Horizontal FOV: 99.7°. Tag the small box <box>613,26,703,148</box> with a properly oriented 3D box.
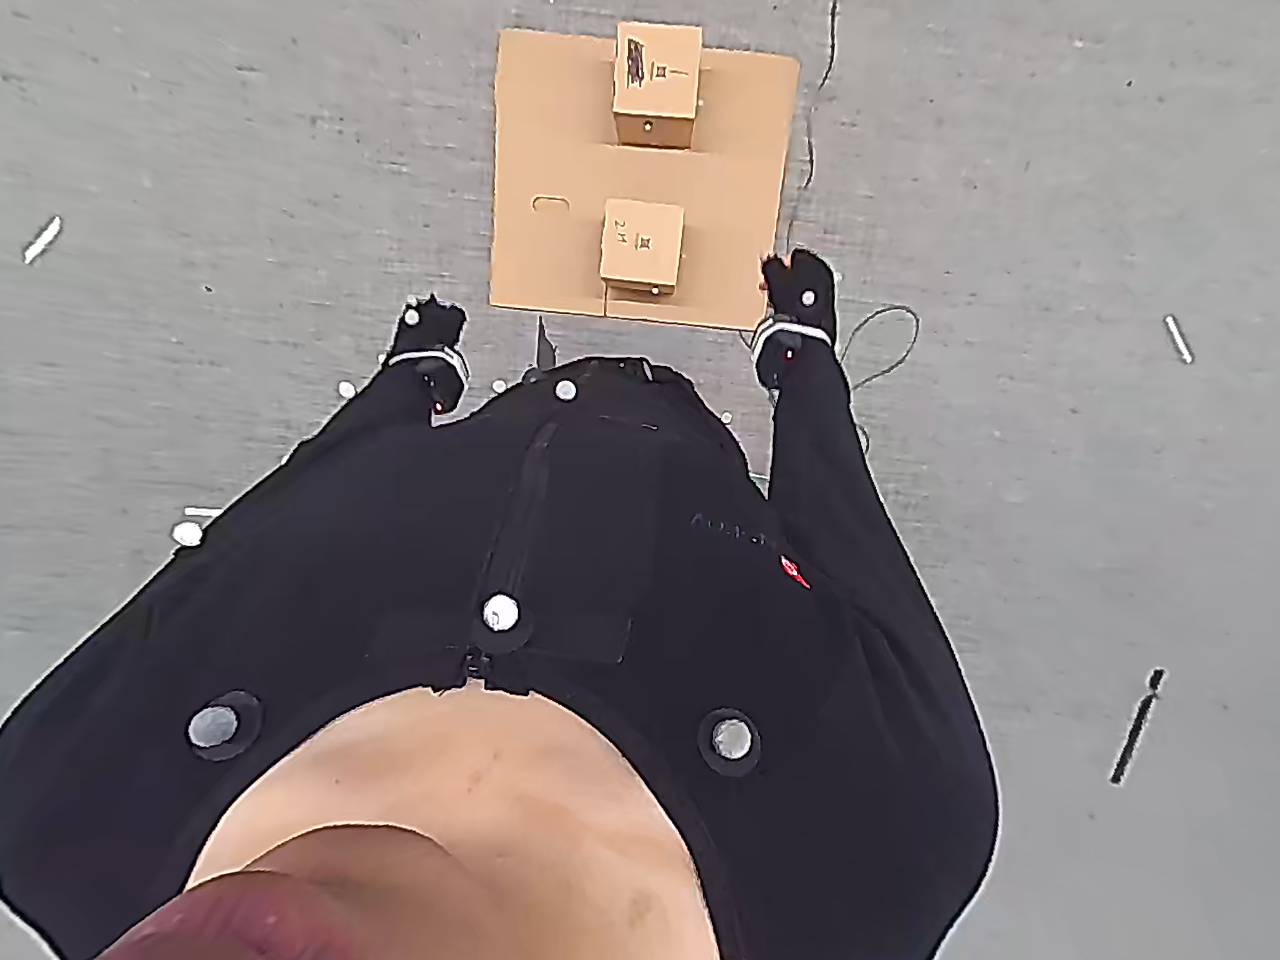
[{"bbox_3d":[0.040,-0.859,1.198,0.179,0.176,0.168,5,103,1],"label":"small box"}]

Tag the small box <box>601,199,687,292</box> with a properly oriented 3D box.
[{"bbox_3d":[0.012,-0.542,1.272,0.179,0.176,0.168,7,103,2],"label":"small box"}]
